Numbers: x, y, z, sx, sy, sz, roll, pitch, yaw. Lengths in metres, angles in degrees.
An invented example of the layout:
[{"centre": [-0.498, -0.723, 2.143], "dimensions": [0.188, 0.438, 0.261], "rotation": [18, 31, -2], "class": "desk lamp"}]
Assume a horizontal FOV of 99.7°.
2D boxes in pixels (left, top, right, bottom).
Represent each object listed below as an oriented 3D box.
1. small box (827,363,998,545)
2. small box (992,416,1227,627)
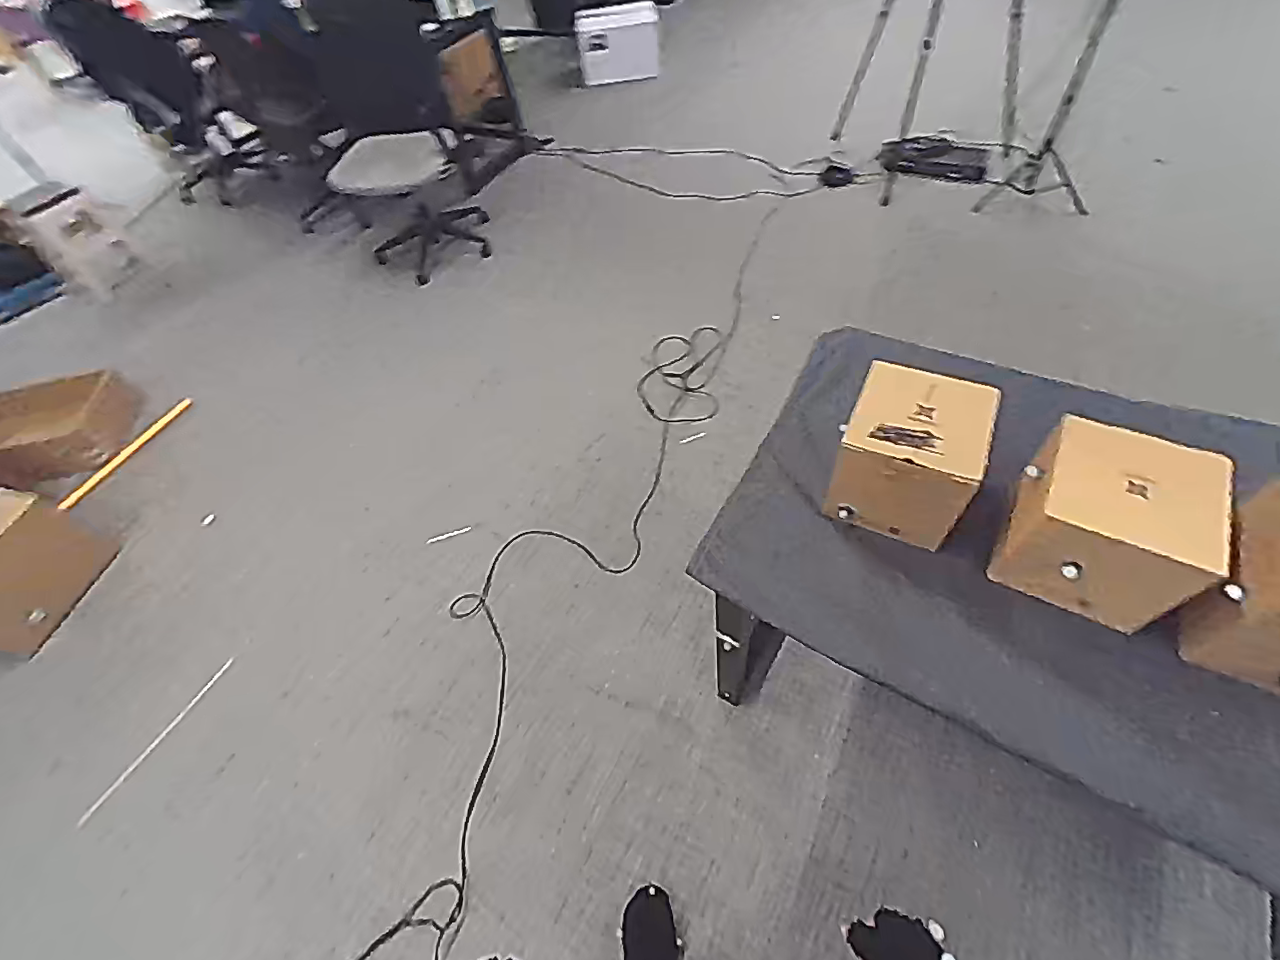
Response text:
[{"centre": [0.380, -0.034, 0.778], "dimensions": [0.168, 0.176, 0.179], "rotation": [20, 57, 21], "class": "small box"}, {"centre": [0.577, 0.055, 0.684], "dimensions": [0.168, 0.176, 0.179], "rotation": [23, 59, 23], "class": "small box"}]
